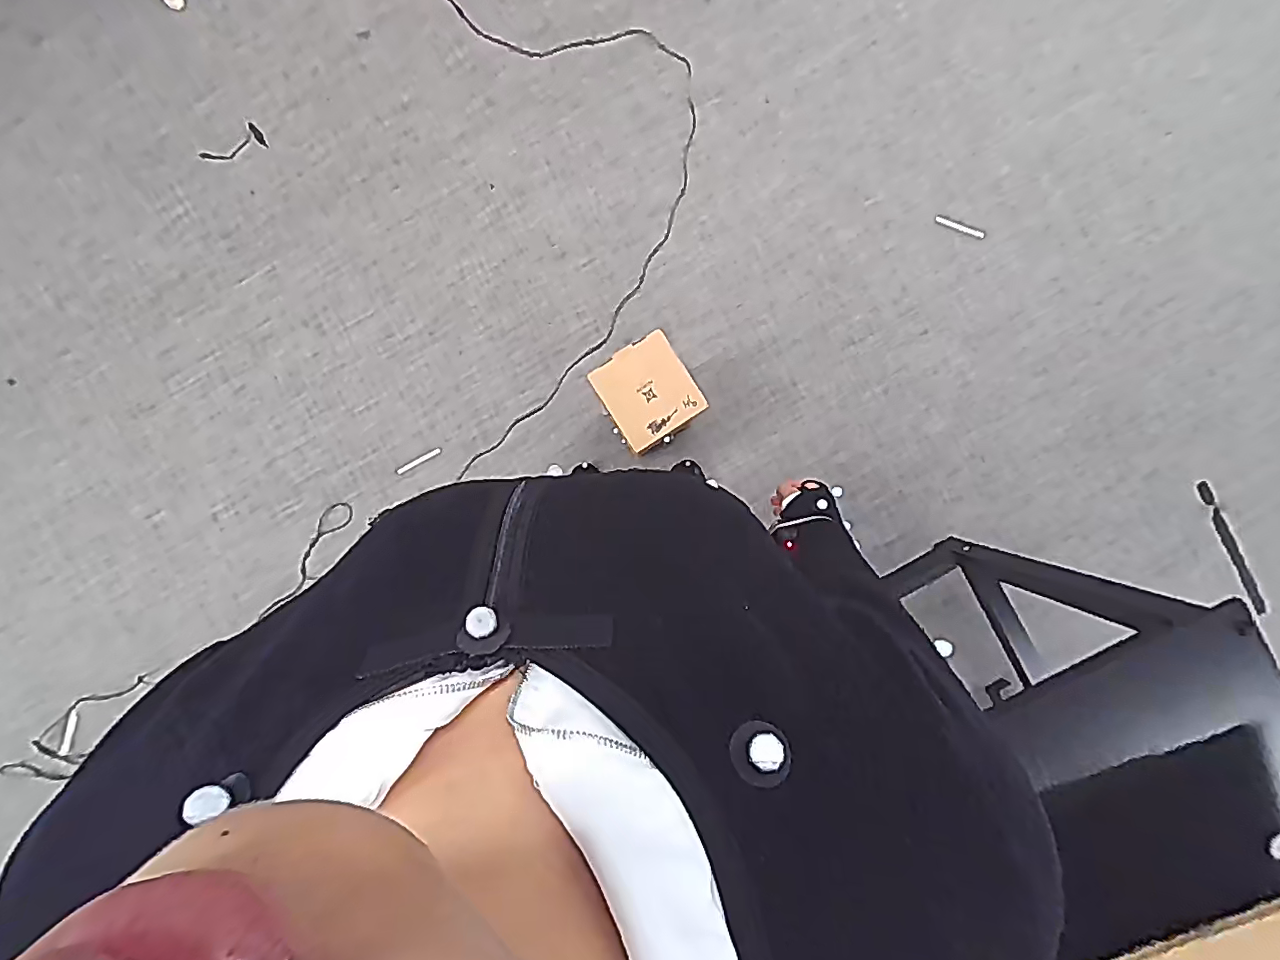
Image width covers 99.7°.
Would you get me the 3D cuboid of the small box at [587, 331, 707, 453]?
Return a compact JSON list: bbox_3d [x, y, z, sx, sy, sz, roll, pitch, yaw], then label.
[{"bbox_3d":[0.013,-0.166,1.086,0.168,0.176,0.179,-33,91,2],"label":"small box"}]
